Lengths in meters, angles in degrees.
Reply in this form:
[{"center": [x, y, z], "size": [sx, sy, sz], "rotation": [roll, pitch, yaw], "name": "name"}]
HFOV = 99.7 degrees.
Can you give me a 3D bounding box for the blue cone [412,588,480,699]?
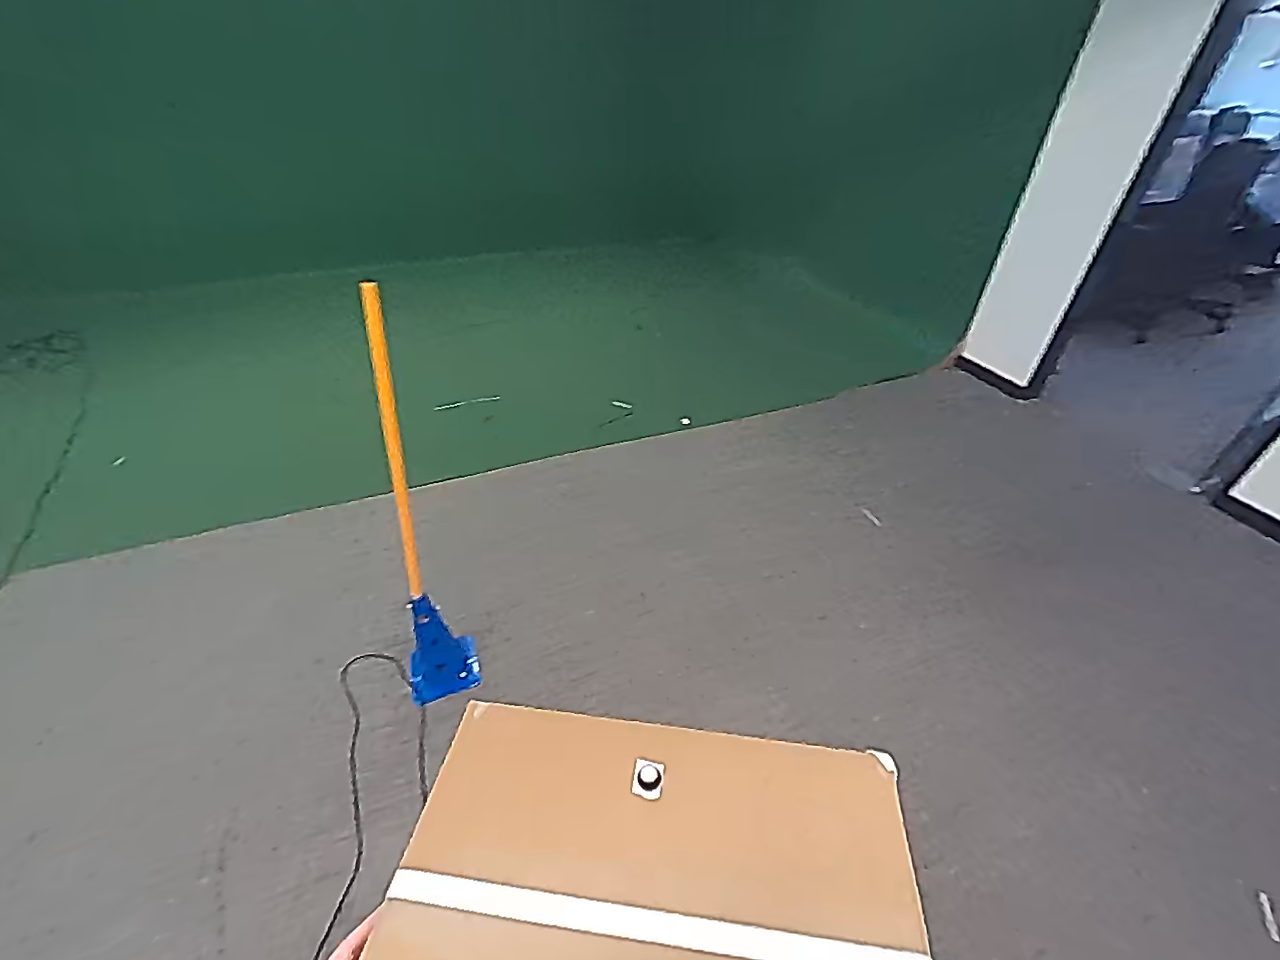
[{"center": [-0.604, 0.446, 1.588], "size": [0.193, 0.380, 0.192], "rotation": [-14, 41, -20], "name": "blue cone"}]
